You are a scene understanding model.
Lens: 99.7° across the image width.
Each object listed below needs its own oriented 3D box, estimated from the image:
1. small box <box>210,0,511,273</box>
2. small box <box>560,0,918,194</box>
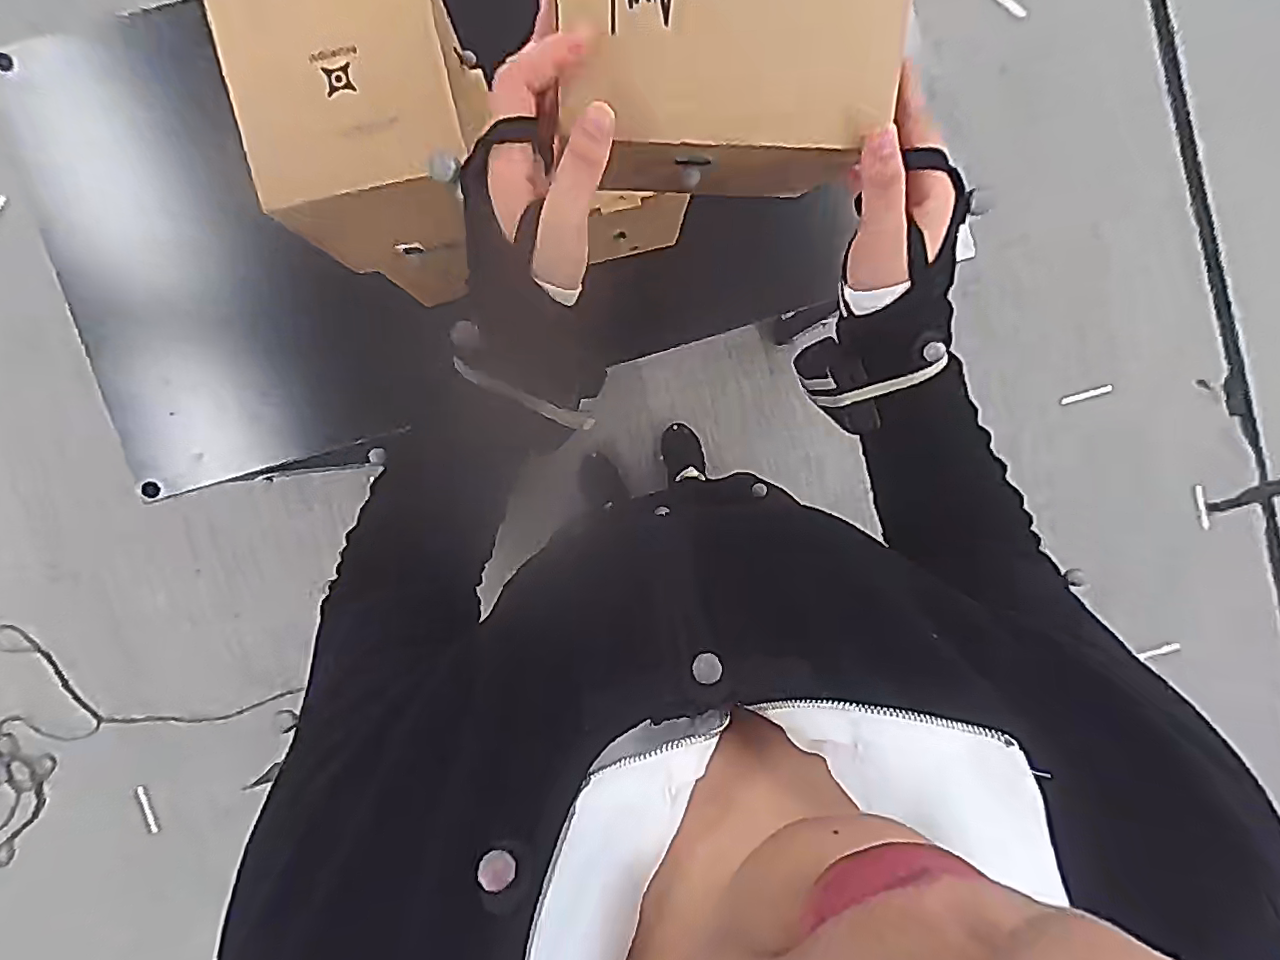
[{"bbox_3d":[-0.230,-0.314,0.492,0.168,0.176,0.179,-14,95,-1],"label":"small box"},{"bbox_3d":[0.048,-0.279,0.330,0.179,0.176,0.168,1,111,-2],"label":"small box"}]
